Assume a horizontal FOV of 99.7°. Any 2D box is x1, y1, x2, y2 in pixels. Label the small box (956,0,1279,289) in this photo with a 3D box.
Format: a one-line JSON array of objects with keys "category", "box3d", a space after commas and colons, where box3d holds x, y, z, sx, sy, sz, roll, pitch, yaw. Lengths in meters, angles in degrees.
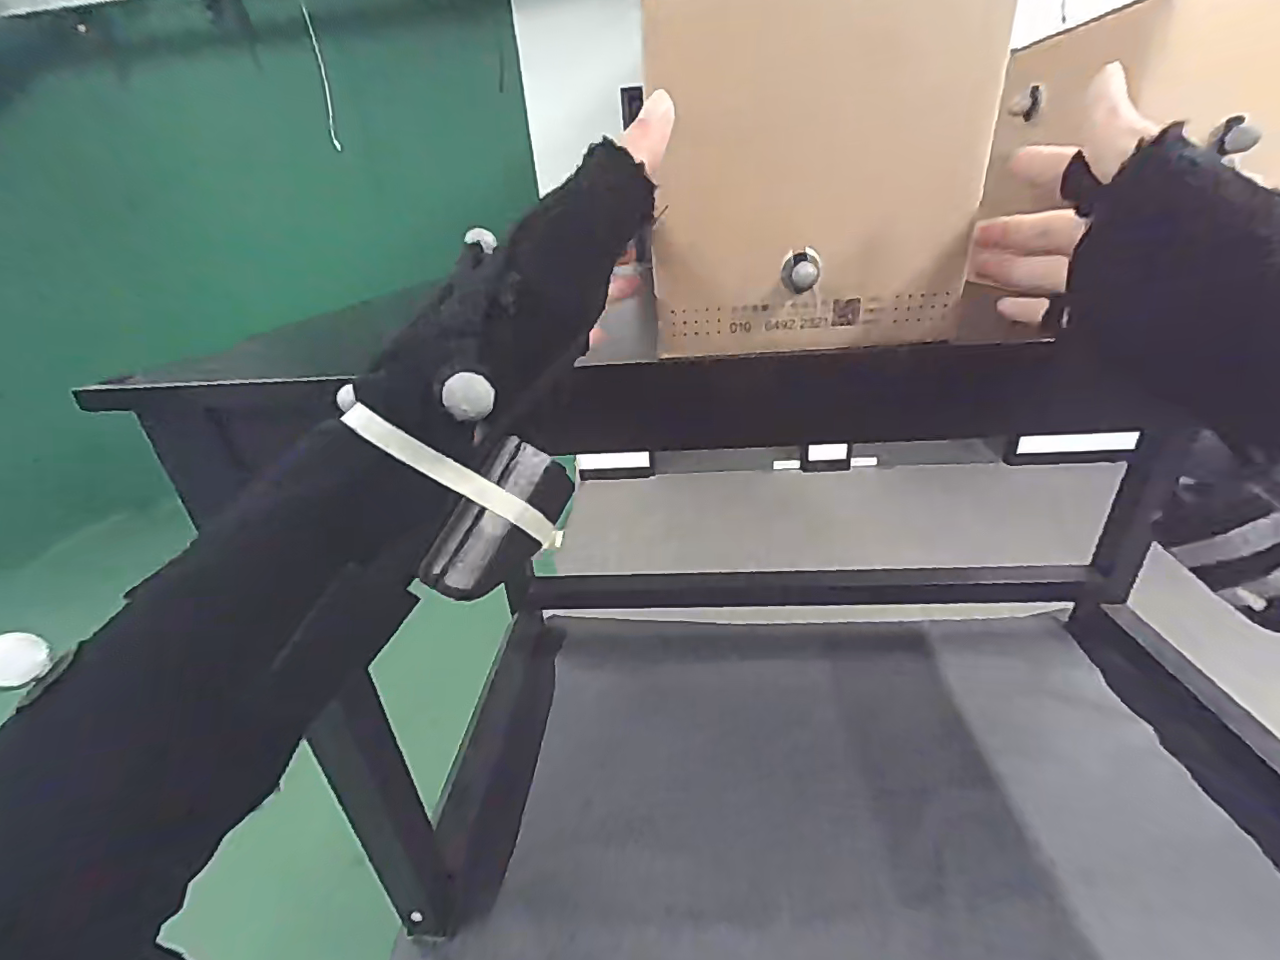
[{"category": "small box", "box3d": [0.365, -0.236, 0.391, 0.168, 0.176, 0.179, -4, 26, 1]}]
